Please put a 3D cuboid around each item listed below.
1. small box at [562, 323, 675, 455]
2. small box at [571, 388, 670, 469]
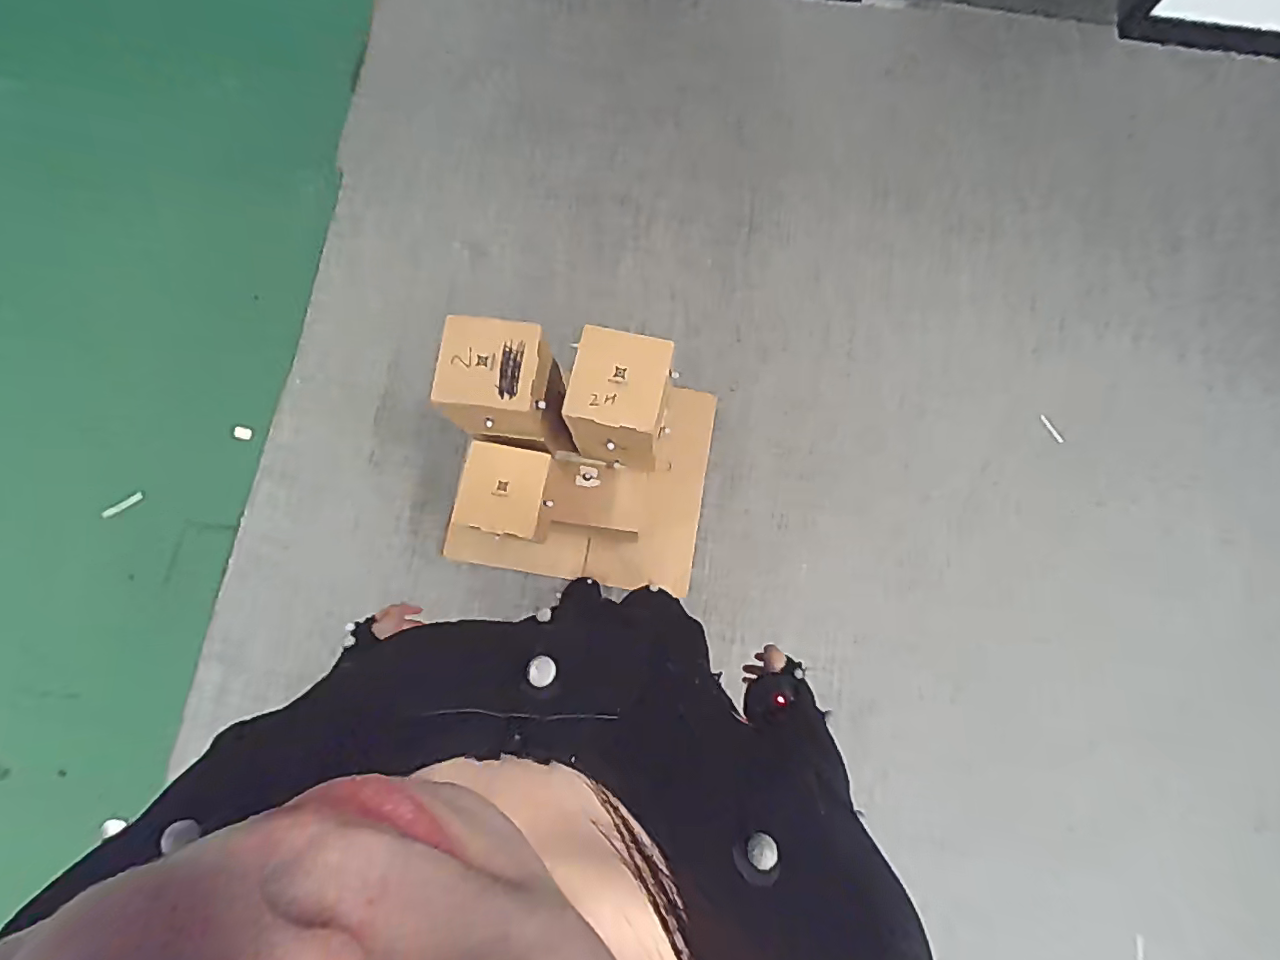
[{"bbox_3d":[-0.035,-0.164,1.016,0.168,0.176,0.179,12,79,4],"label":"small box"},{"bbox_3d":[-0.037,-0.129,1.179,0.179,0.176,0.168,12,79,3],"label":"small box"}]
